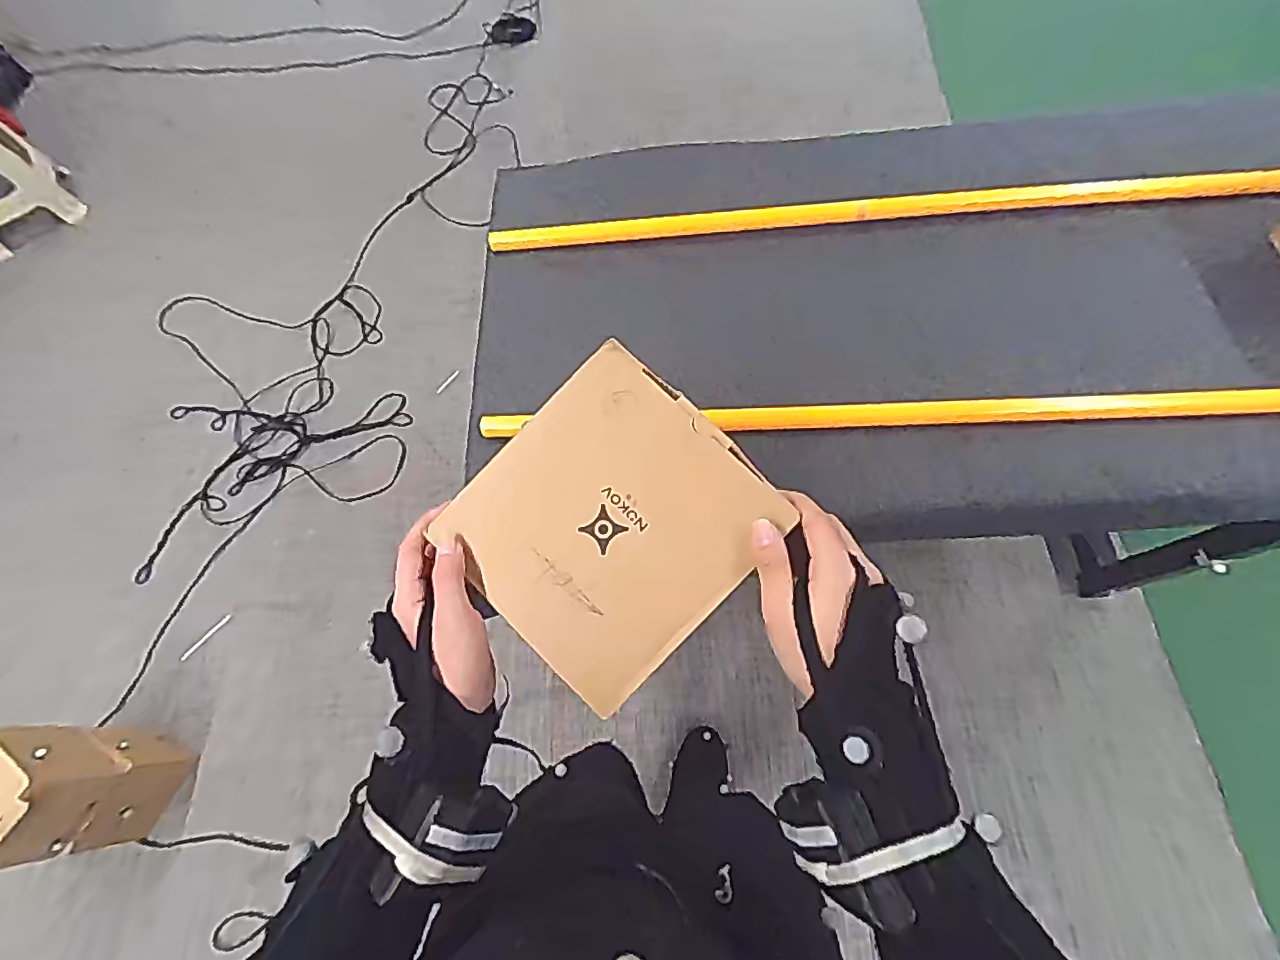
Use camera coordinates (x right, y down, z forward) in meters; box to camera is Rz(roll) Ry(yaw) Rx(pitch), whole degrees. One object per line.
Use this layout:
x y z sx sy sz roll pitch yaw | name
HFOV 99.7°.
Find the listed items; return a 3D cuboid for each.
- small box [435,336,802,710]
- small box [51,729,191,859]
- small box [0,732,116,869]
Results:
-0.010 0.030 0.414 0.168 0.176 0.179 42 90 8 | small box
-1.118 0.648 1.139 0.168 0.176 0.179 22 70 14 | small box
-1.142 0.580 0.991 0.179 0.176 0.168 27 70 16 | small box
